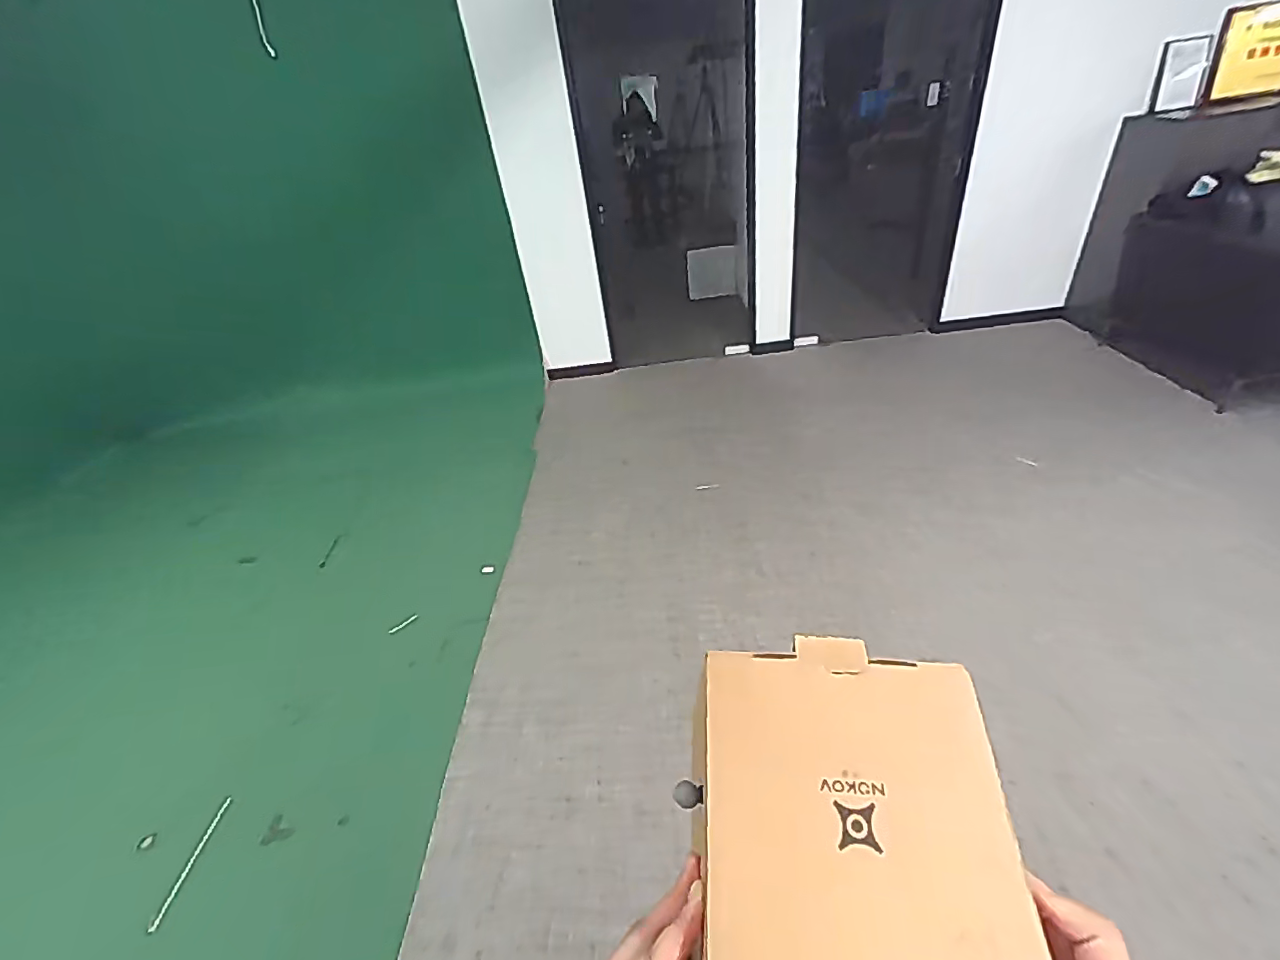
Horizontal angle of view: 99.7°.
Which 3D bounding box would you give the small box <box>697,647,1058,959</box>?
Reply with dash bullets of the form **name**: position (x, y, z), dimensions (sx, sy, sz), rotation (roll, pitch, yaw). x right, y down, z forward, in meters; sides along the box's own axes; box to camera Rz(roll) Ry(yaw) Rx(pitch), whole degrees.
- **small box**: position (0.126, 0.228, 0.361), dimensions (0.168, 0.176, 0.179), rotation (2, 54, 4)
